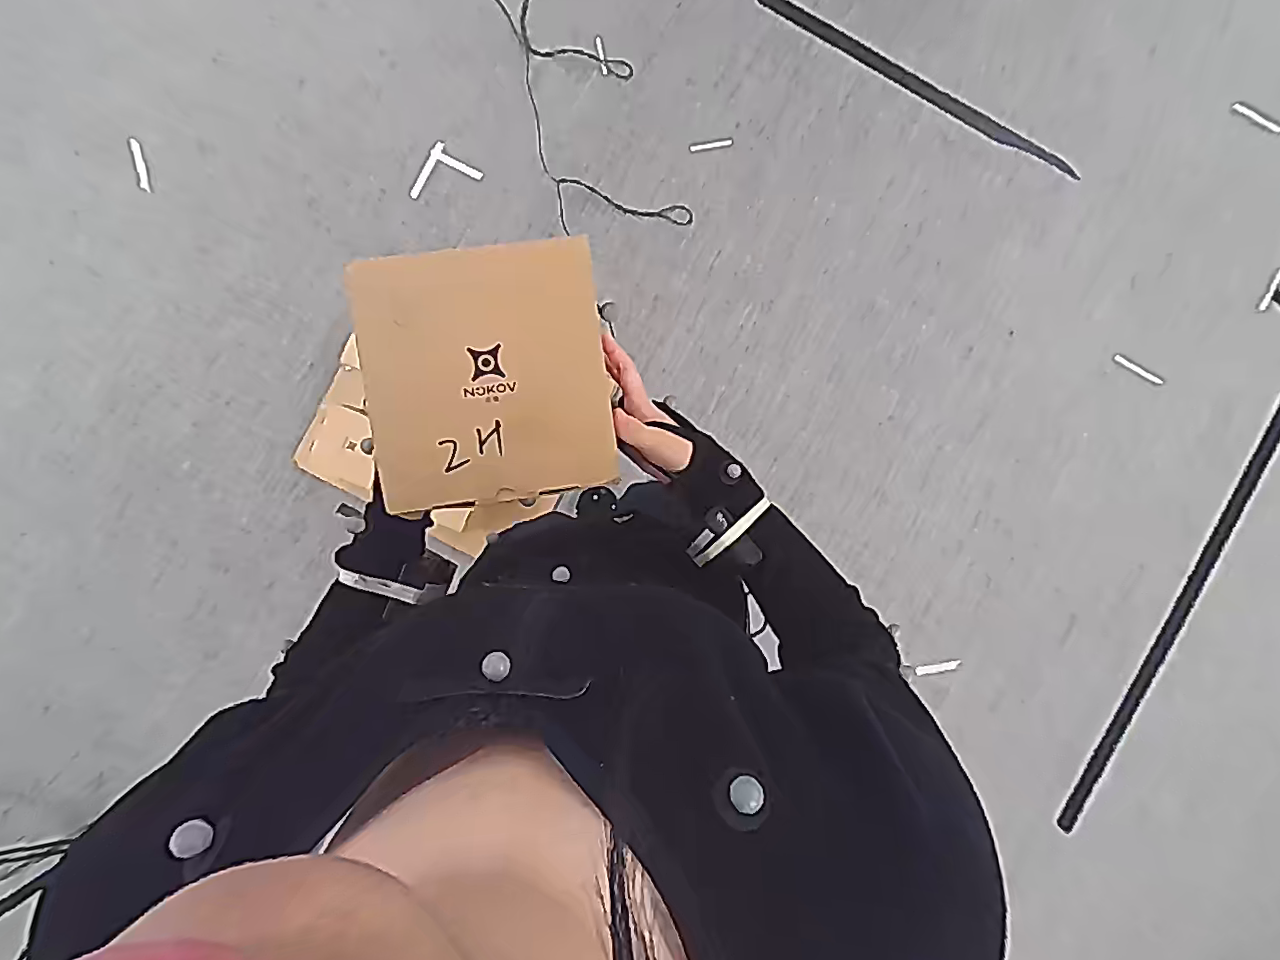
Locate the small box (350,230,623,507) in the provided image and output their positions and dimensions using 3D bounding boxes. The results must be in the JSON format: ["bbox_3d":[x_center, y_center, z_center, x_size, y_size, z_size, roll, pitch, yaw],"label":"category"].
[{"bbox_3d":[-0.108,-0.079,0.445,0.168,0.176,0.179,-8,93,-4],"label":"small box"}]

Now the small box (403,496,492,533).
[{"bbox_3d":[-0.478,0.022,1.389,0.179,0.176,0.168,24,88,-2],"label":"small box"}]

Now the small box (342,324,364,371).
[{"bbox_3d":[-0.620,-0.334,1.395,0.168,0.176,0.179,24,89,-1],"label":"small box"}]
